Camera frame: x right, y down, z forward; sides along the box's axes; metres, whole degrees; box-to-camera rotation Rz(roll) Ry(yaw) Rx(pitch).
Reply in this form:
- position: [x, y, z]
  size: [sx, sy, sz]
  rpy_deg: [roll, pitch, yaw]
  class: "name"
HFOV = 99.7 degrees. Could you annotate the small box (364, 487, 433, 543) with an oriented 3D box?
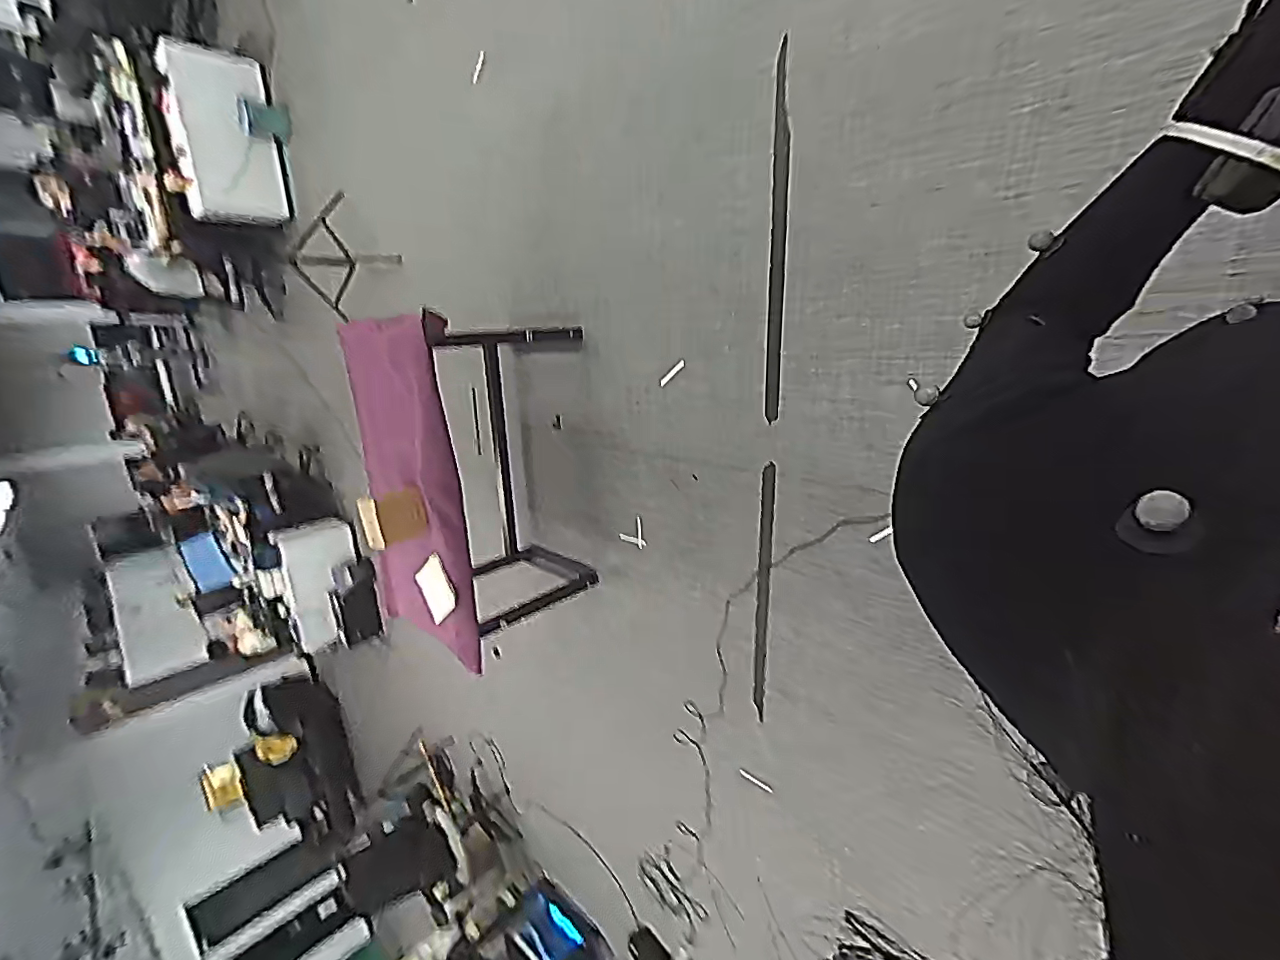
- position: [-0.888, 0.125, 1.994]
  size: [0.168, 0.176, 0.179]
  rpy_deg: [-3, 100, 47]
  class: "small box"
